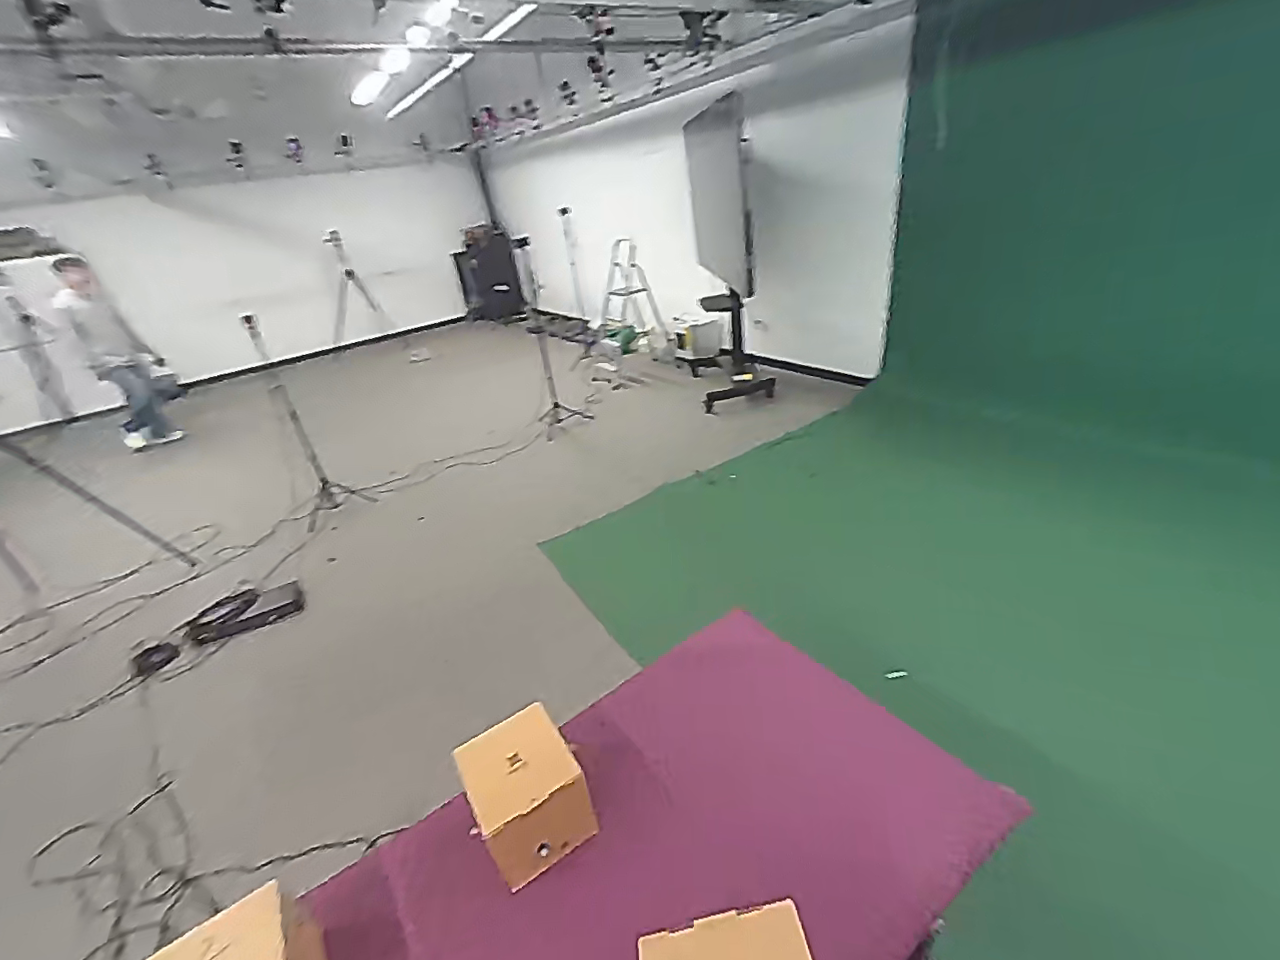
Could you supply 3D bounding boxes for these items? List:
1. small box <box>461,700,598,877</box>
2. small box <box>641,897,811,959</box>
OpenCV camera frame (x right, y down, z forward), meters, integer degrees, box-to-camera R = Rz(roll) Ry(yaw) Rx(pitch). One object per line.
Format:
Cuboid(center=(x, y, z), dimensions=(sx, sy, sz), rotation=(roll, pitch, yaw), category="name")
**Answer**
Cuboid(center=(-0.192, 0.536, 0.949), dimensions=(0.168, 0.176, 0.179), rotation=(-24, 34, -25), category="small box")
Cuboid(center=(0.102, 0.561, 0.535), dimensions=(0.168, 0.176, 0.179), rotation=(-13, 34, 0), category="small box")
